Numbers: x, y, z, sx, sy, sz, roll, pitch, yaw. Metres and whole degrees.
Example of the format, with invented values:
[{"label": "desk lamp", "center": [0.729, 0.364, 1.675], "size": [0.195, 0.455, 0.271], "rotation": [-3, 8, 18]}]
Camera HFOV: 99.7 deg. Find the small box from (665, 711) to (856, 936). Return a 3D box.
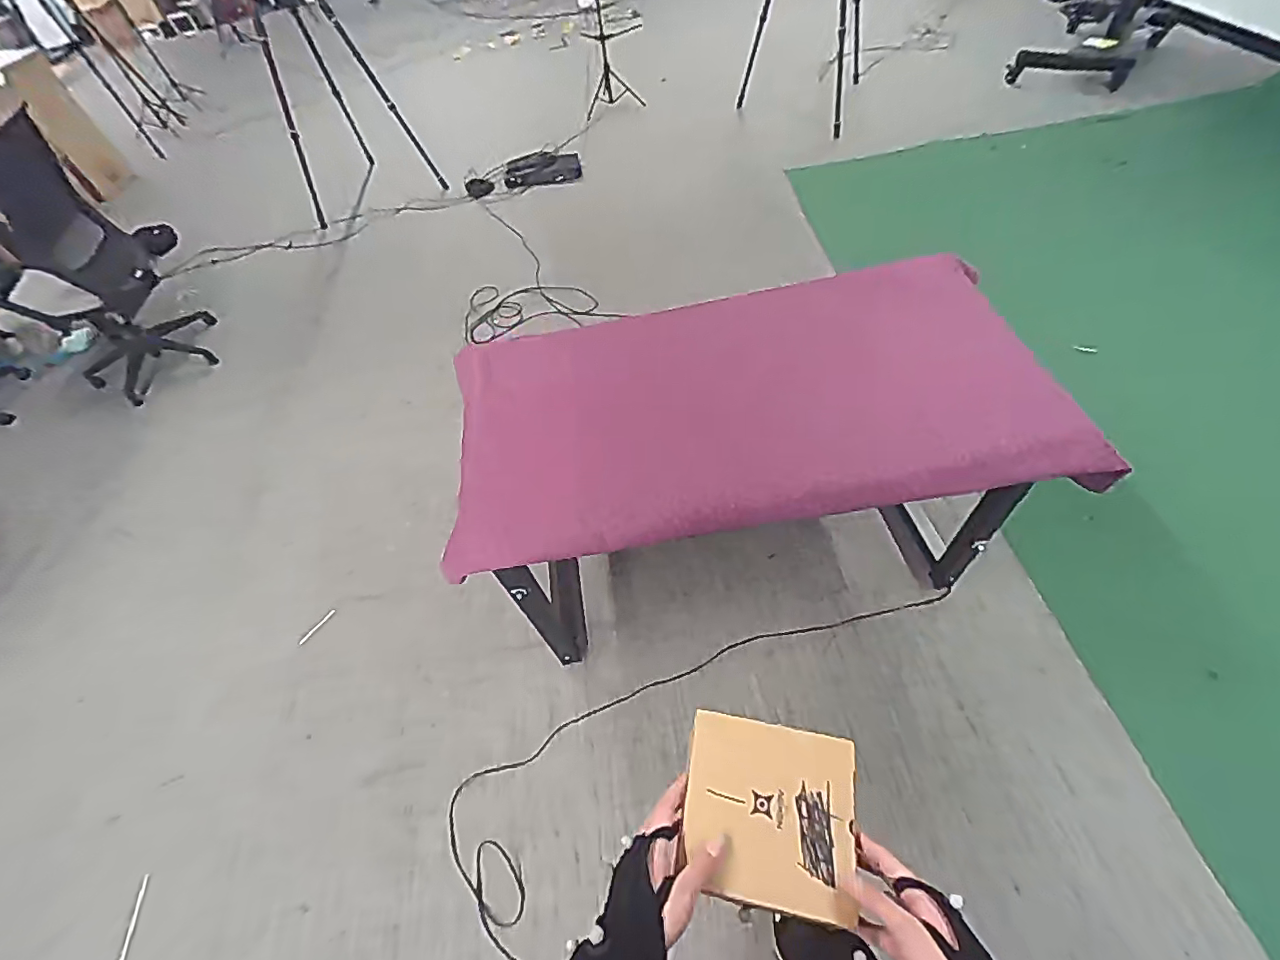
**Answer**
[{"label": "small box", "center": [0.128, 0.383, 0.610], "size": [0.179, 0.176, 0.168], "rotation": [9, 53, 8]}]
